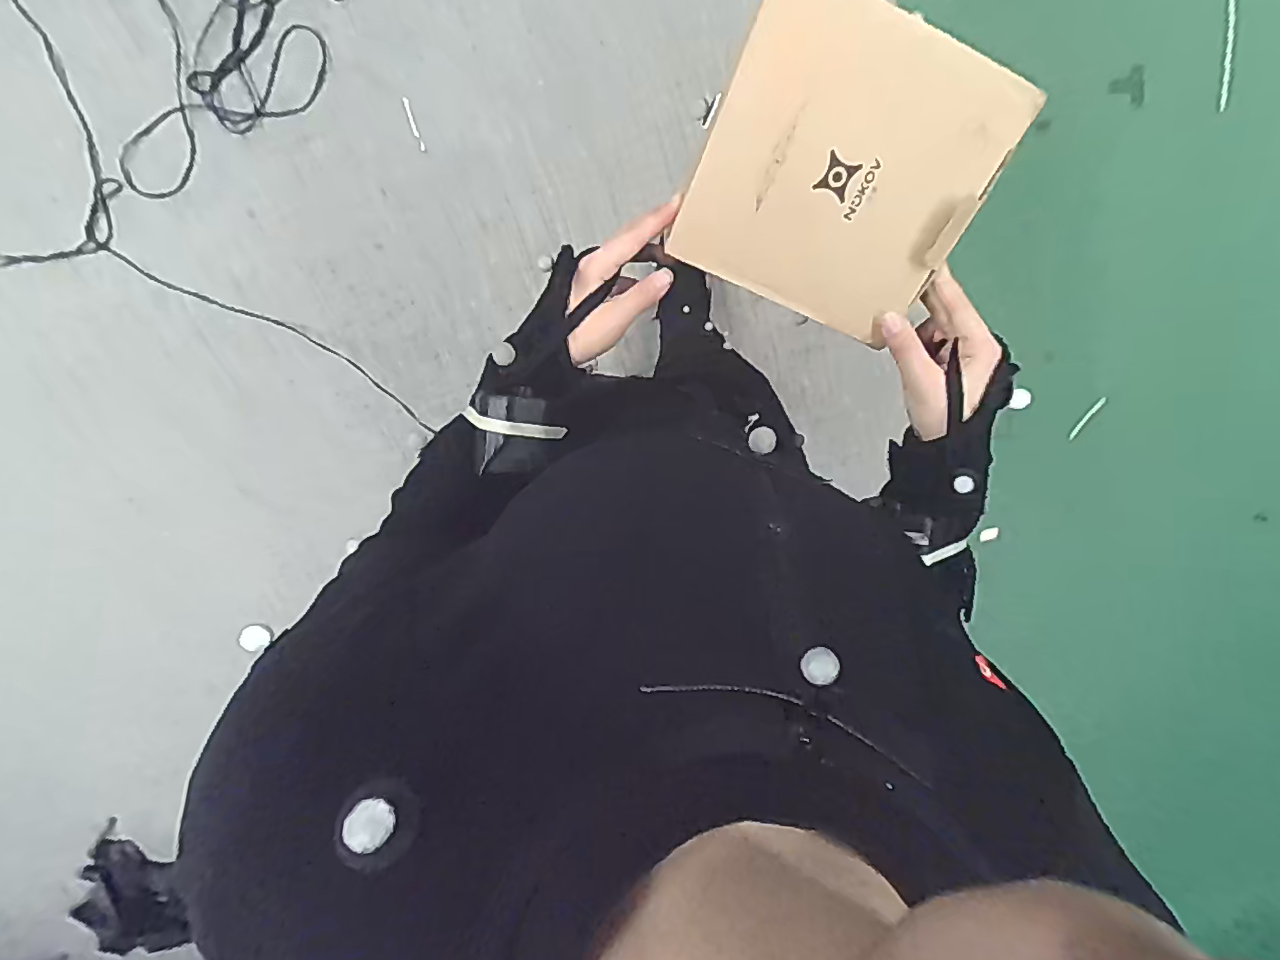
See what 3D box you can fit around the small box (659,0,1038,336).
[{"bbox_3d":[0.124,-0.233,0.403,0.179,0.176,0.168,20,118,-7],"label":"small box"}]
